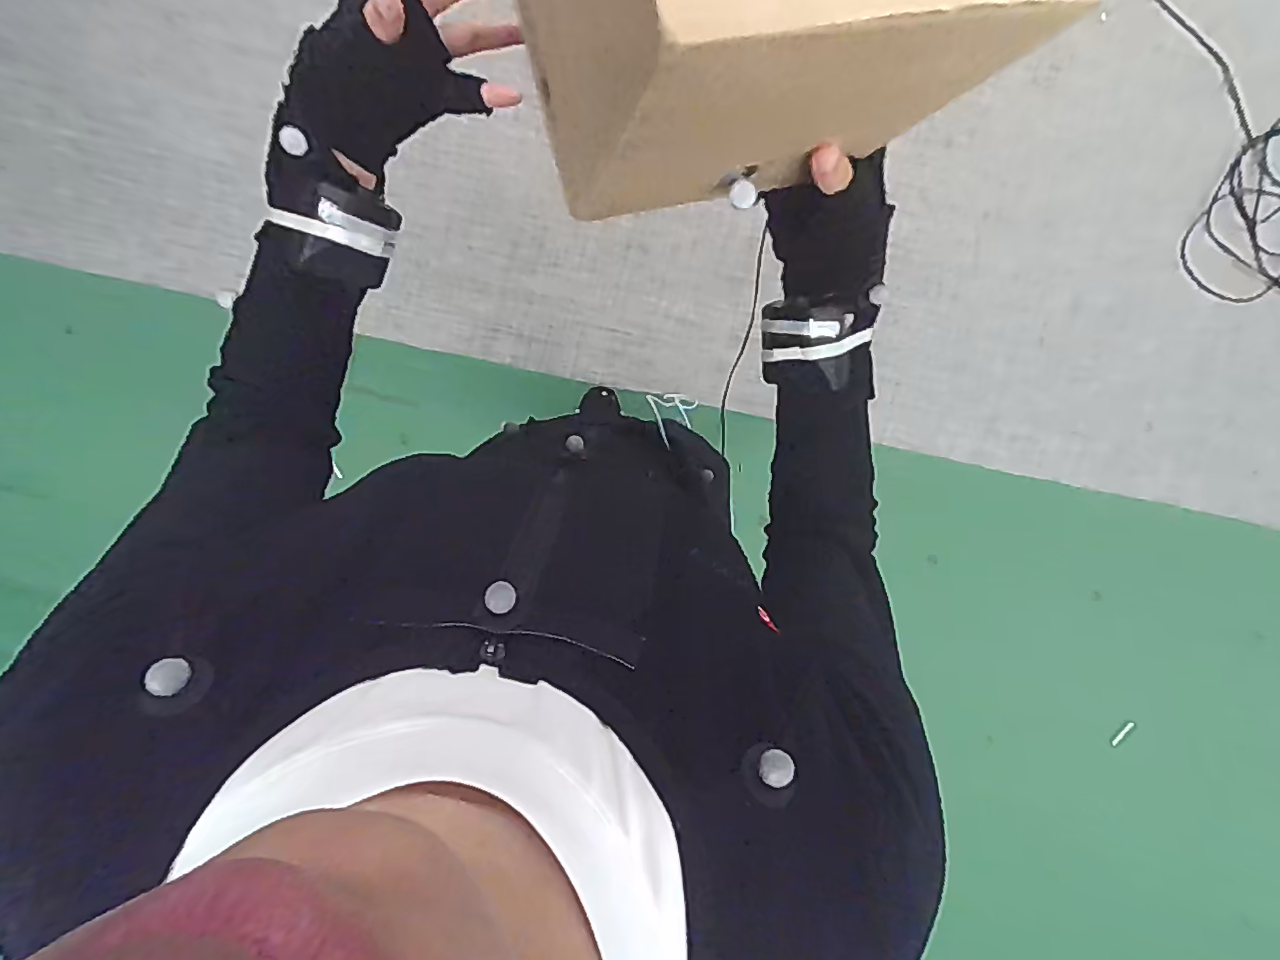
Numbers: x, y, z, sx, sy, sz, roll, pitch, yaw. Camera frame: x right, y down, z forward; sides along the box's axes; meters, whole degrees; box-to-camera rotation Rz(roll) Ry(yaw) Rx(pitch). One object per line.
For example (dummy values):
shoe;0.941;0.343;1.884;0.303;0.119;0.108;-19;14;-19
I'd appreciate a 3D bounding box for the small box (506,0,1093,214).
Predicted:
small box;0.042;-0.234;0.229;0.179;0.176;0.168;-17;103;-14
